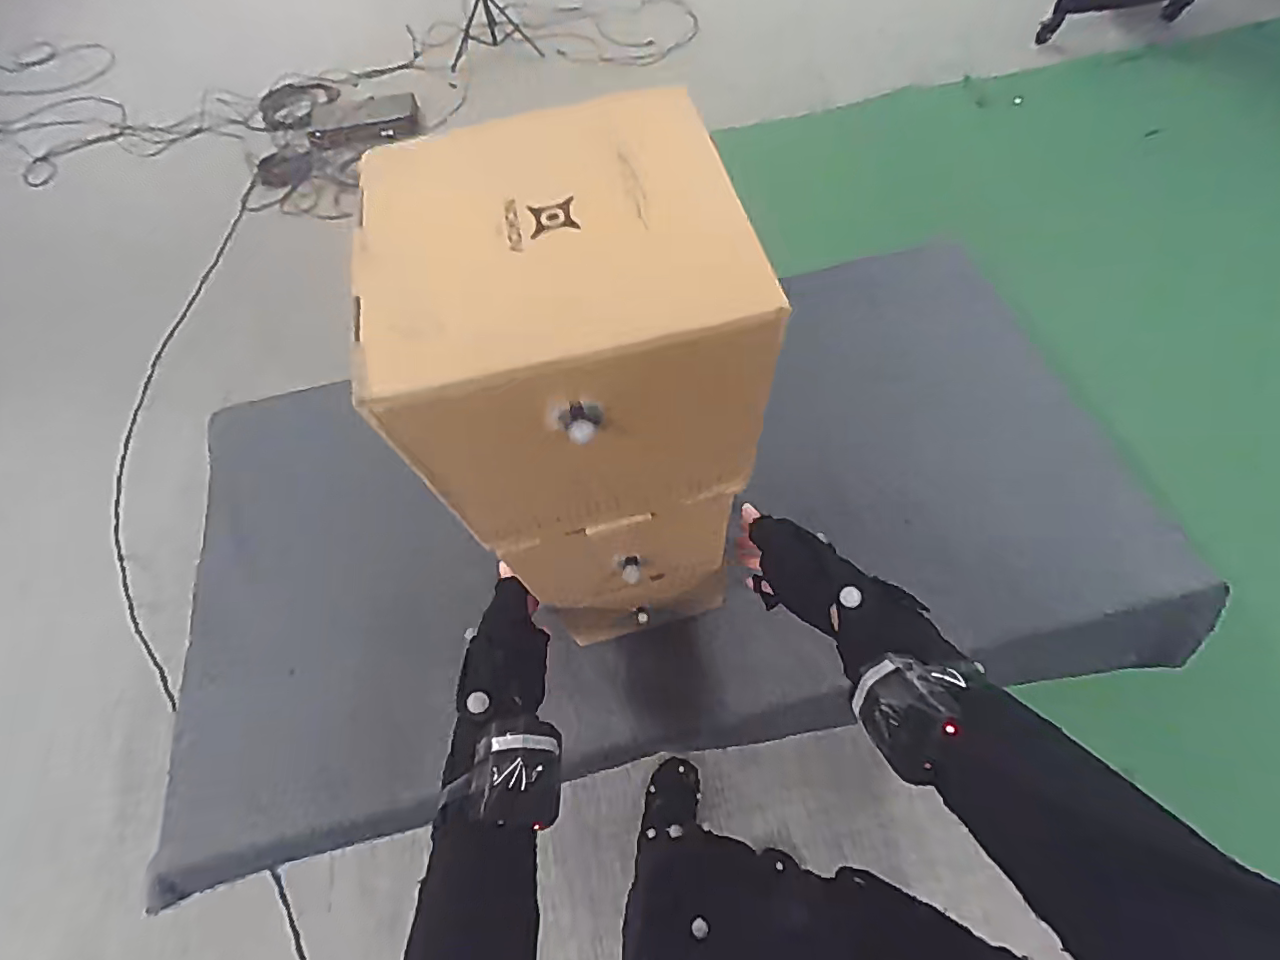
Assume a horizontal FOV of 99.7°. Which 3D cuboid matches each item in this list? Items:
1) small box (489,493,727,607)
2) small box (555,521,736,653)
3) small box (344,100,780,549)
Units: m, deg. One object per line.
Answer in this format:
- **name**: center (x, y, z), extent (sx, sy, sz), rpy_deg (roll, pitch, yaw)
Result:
- **small box**: center (-0.033, -0.002, 0.461), extent (0.168, 0.176, 0.179), rpy_deg (-15, 63, -3)
- **small box**: center (-0.012, 0.076, 0.603), extent (0.179, 0.176, 0.168), rpy_deg (-18, 63, -6)
- **small box**: center (-0.039, -0.074, 0.314), extent (0.179, 0.176, 0.168), rpy_deg (-13, 63, -3)
